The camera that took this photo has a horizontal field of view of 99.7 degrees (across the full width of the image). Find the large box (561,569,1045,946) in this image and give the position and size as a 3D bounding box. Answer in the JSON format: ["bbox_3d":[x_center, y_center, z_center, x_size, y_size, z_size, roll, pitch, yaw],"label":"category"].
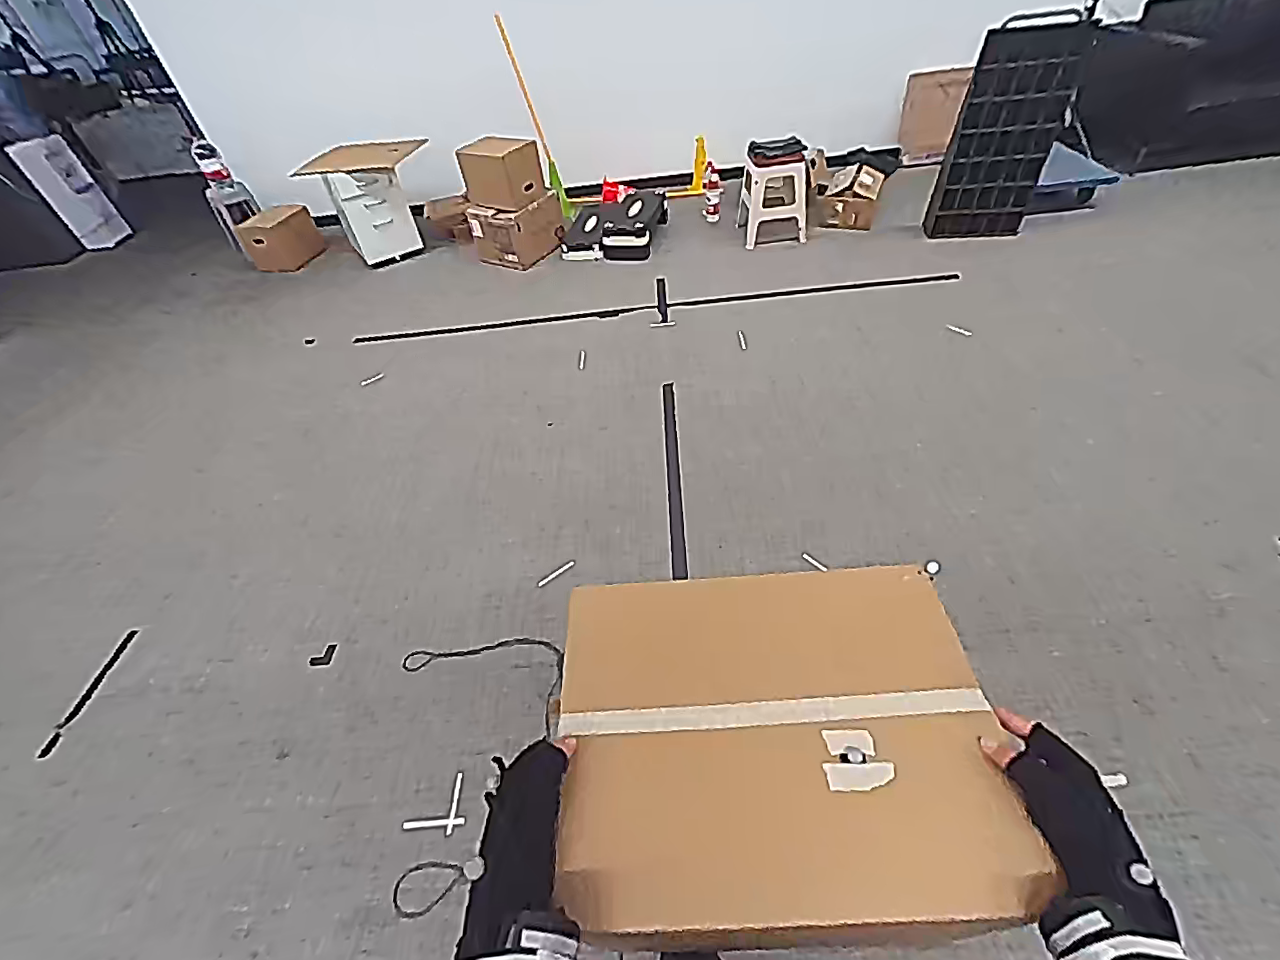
[{"bbox_3d":[0.136,0.335,0.647,0.408,0.320,0.320,-5,47,3],"label":"large box"}]
